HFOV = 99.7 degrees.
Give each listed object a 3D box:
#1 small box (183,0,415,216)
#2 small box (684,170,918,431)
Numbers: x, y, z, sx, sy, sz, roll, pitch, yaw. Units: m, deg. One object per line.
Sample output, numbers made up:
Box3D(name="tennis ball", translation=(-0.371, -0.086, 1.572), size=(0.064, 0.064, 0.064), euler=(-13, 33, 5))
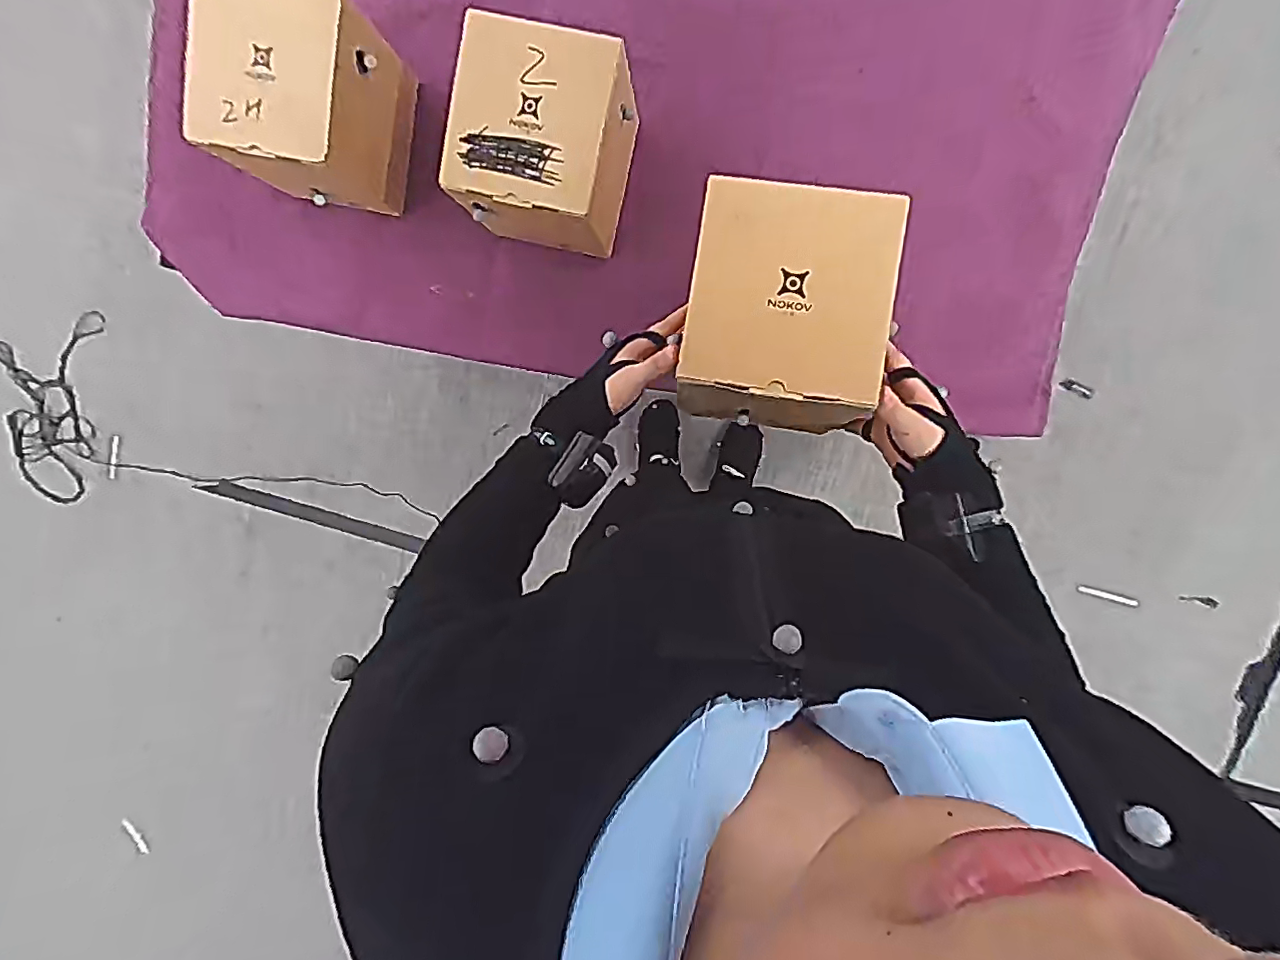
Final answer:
Box3D(name="small box", translation=(-0.390, -0.445, 0.645), size=(0.168, 0.176, 0.179), euler=(12, 99, 3))
Box3D(name="small box", translation=(0.134, -0.153, 0.514), size=(0.168, 0.176, 0.179), euler=(9, 89, 4))
